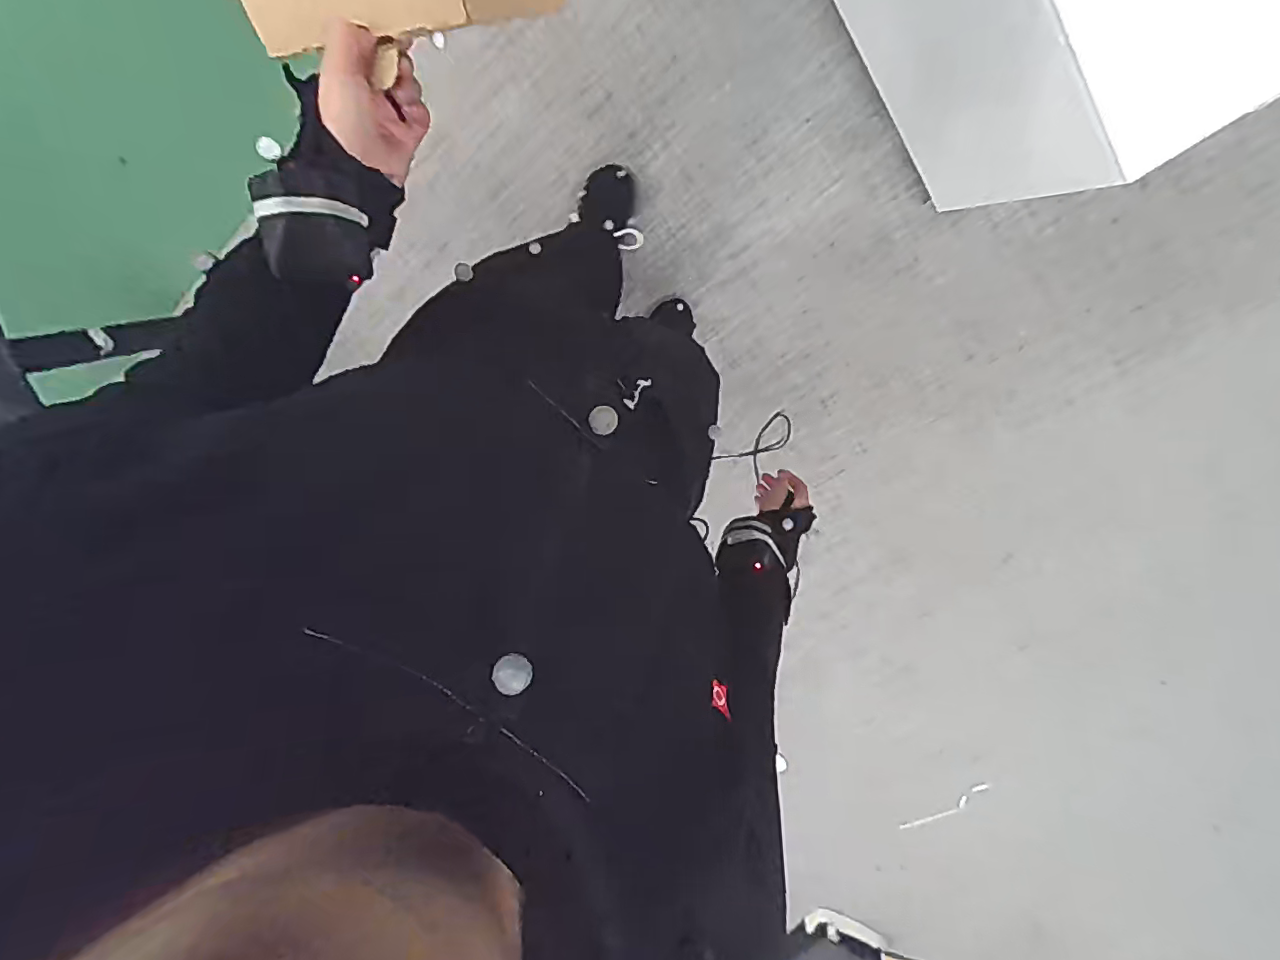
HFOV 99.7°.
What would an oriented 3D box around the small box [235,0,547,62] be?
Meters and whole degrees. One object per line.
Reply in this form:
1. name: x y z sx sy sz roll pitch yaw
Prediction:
1. small box: -0.176 -0.405 0.353 0.168 0.176 0.179 3 135 17
